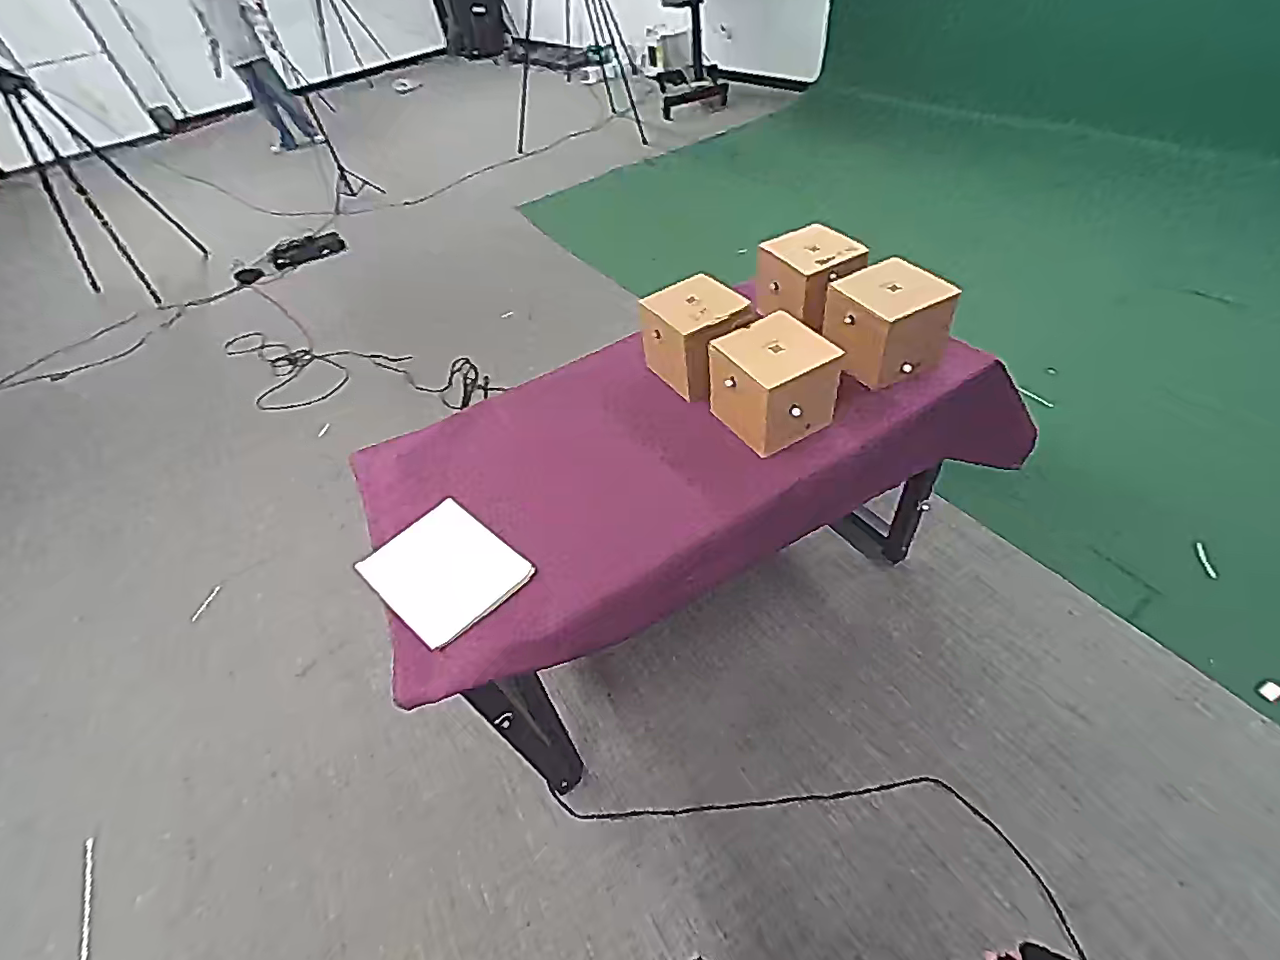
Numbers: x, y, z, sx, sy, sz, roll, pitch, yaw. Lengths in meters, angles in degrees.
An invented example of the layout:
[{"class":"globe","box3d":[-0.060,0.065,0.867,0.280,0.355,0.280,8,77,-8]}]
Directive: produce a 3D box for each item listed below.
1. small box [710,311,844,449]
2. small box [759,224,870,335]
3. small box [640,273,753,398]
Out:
[{"class":"small box","box3d":[0.248,-0.179,1.009,0.168,0.176,0.179,-26,50,-13]},{"class":"small box","box3d":[0.383,-0.447,1.225,0.168,0.176,0.179,-25,49,-12]},{"class":"small box","box3d":[0.117,-0.304,1.142,0.168,0.176,0.179,-28,51,-15]}]
